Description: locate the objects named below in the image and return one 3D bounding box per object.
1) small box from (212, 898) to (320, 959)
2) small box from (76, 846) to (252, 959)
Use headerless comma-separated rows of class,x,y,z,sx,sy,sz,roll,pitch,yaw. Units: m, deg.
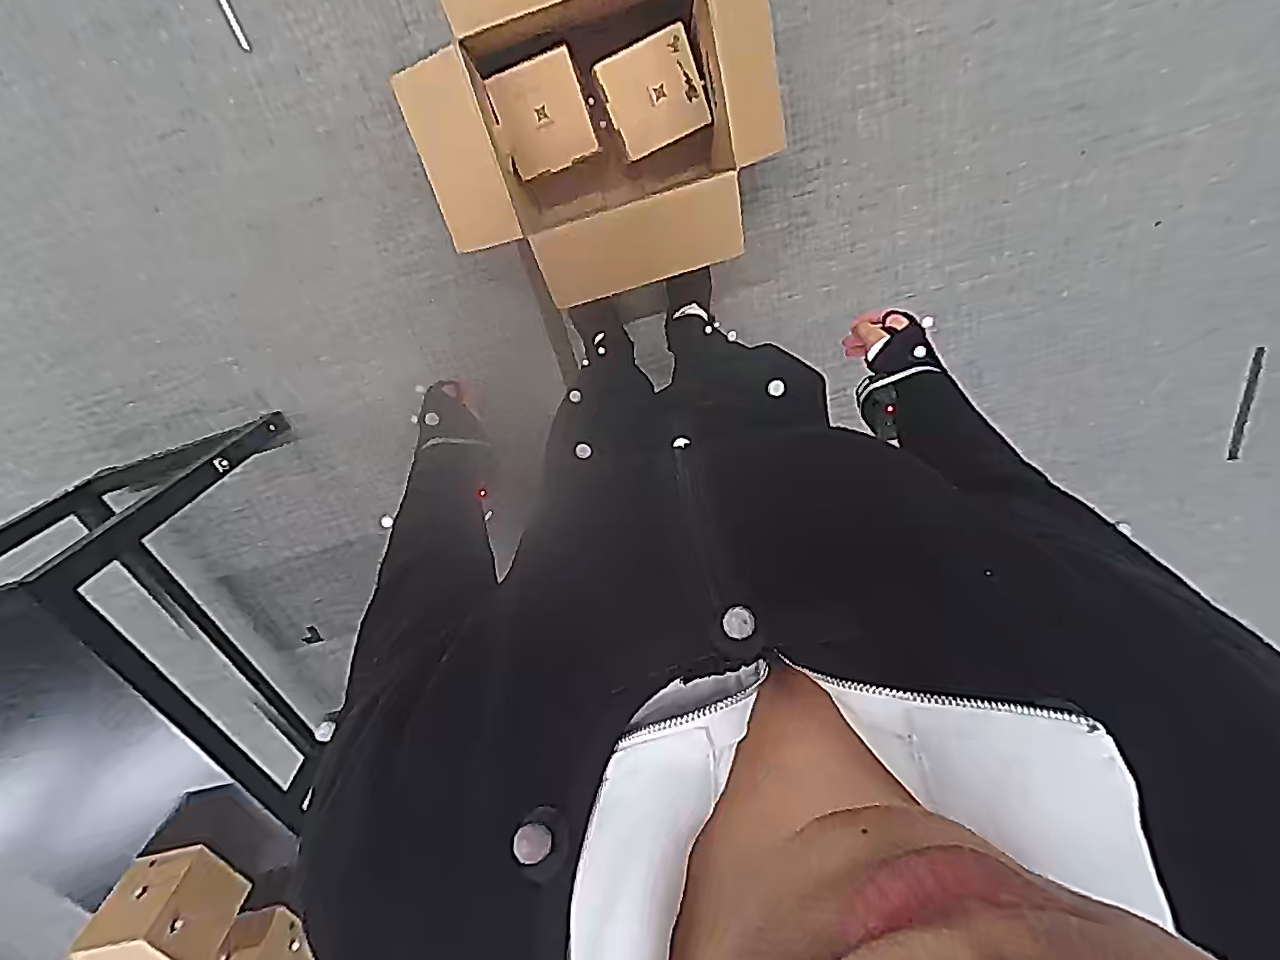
small box,-0.892,1.110,1.248,0.179,0.176,0.168,-17,118,6
small box,-0.969,0.888,1.121,0.168,0.176,0.179,-15,118,7
